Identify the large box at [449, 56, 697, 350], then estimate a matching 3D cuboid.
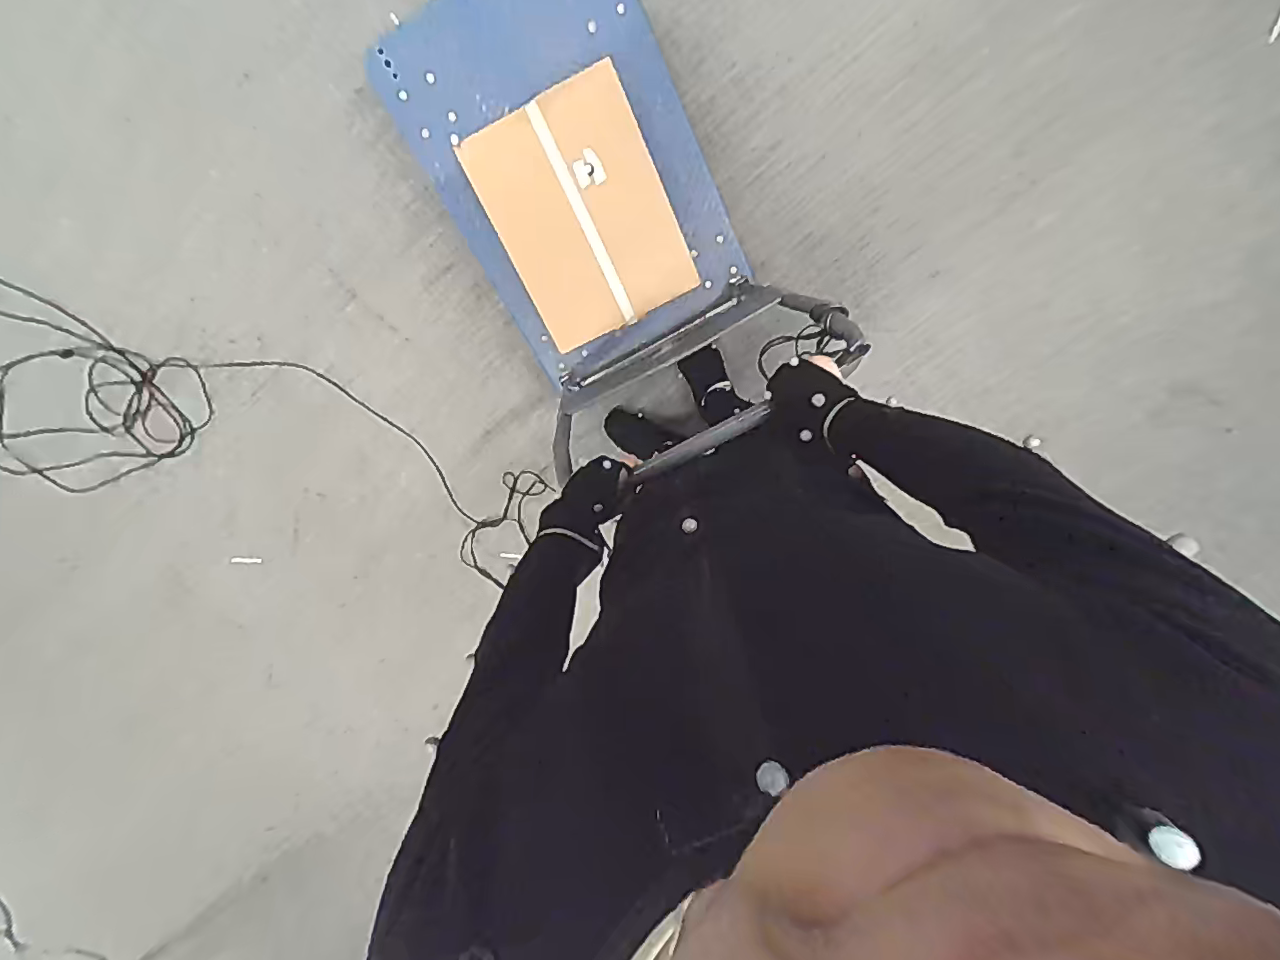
[{"bbox_3d":[-0.115,-0.534,1.123,0.320,0.320,0.408,-25,110,6],"label":"large box"}]
